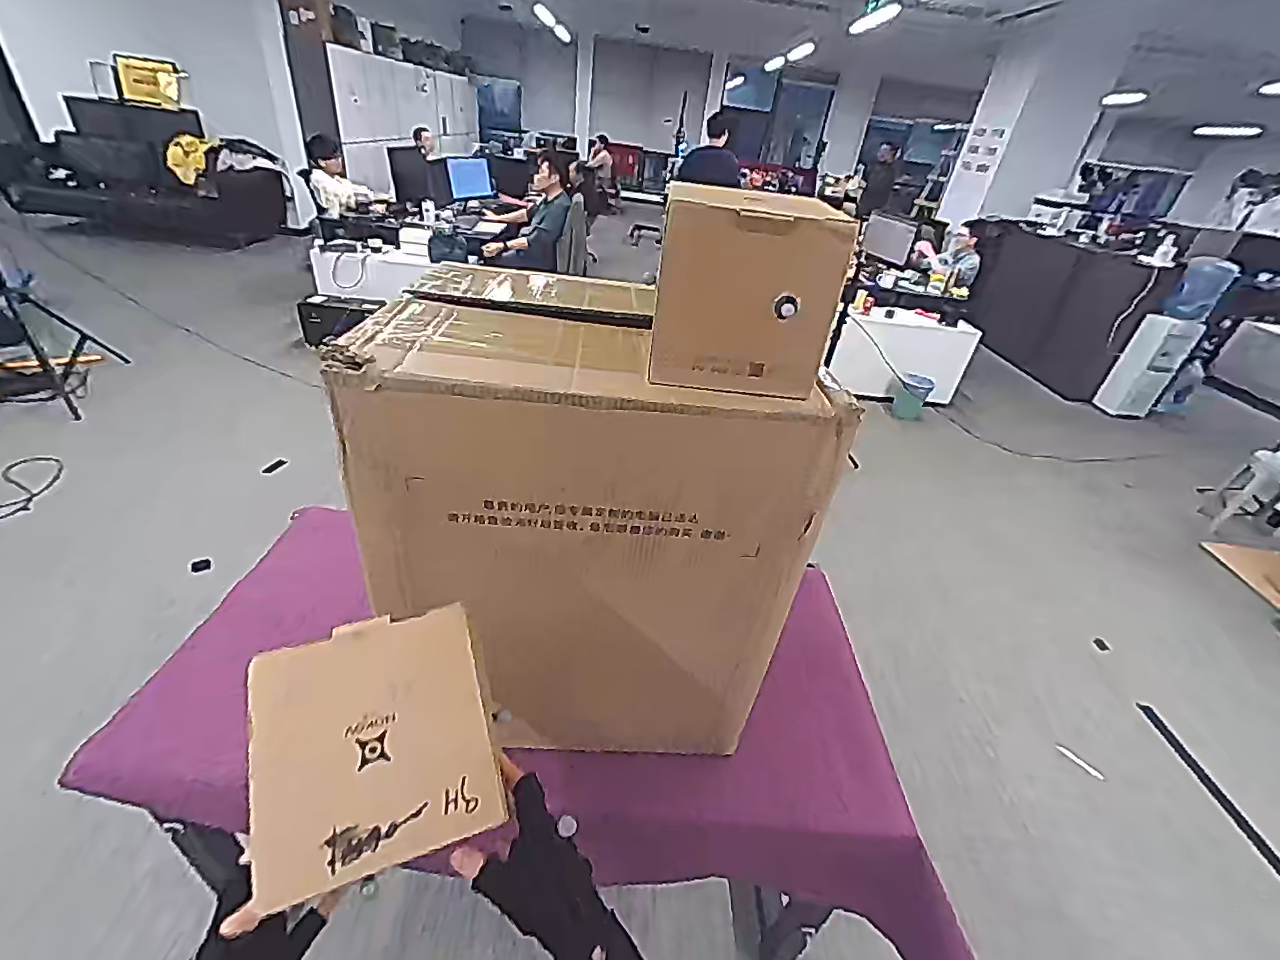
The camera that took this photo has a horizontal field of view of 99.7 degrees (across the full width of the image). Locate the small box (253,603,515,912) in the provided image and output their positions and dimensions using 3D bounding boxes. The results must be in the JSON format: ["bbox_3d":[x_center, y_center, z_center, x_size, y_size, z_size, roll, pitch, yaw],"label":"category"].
[{"bbox_3d":[-0.212,0.236,0.477,0.168,0.176,0.179,-13,62,-17],"label":"small box"}]

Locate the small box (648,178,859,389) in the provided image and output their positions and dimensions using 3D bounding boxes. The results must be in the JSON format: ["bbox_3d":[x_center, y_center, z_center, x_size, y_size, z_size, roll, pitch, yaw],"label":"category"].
[{"bbox_3d":[0.101,-0.206,0.565,0.168,0.176,0.179,7,32,-2],"label":"small box"}]
